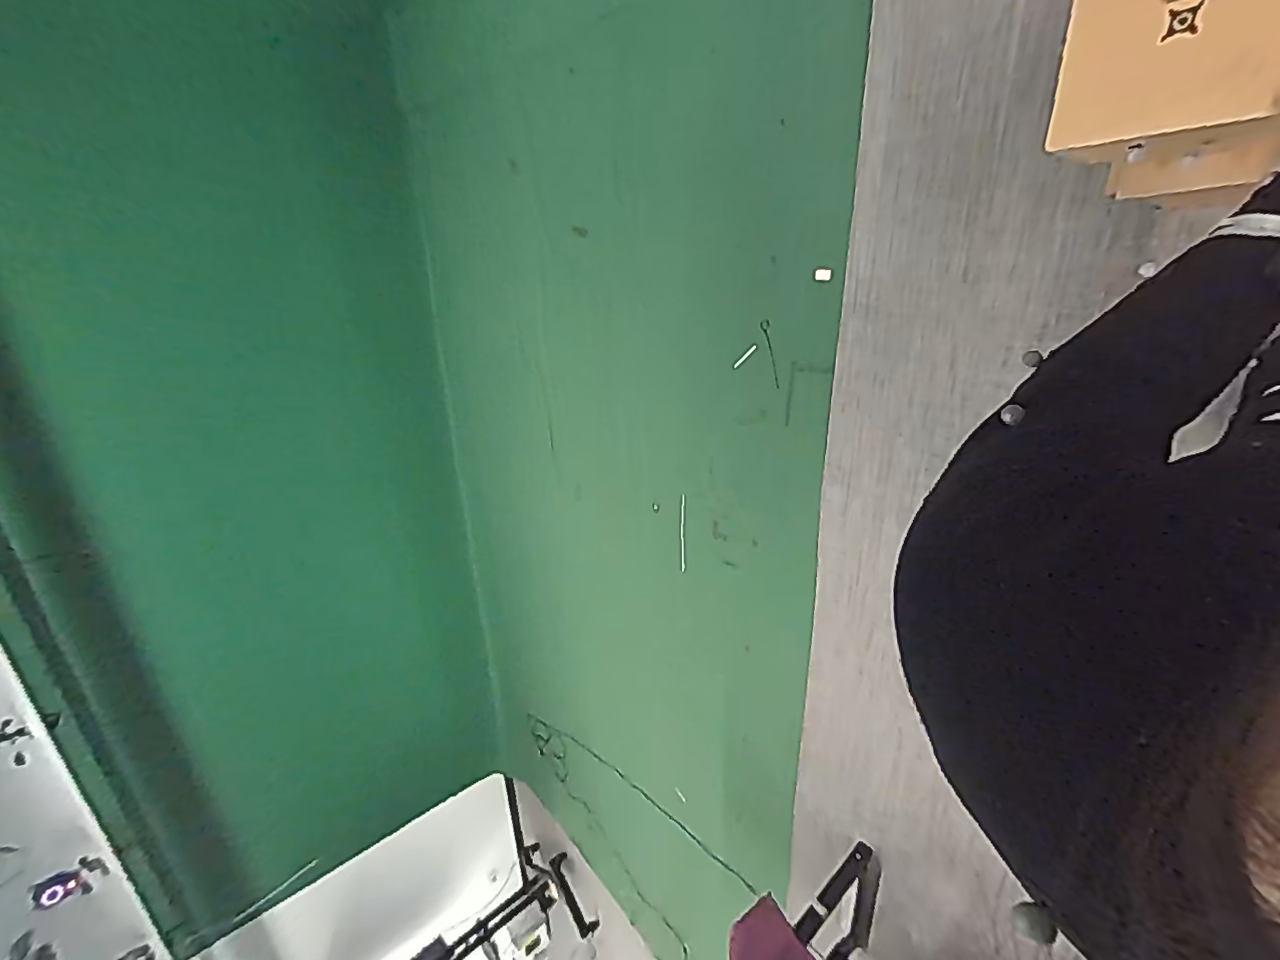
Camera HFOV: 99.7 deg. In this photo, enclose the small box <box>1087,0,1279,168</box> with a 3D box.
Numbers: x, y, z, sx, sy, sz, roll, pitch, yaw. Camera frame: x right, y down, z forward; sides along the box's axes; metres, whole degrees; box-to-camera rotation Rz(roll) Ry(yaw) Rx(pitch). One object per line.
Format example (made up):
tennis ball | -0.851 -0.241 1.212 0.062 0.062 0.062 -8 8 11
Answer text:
small box | 0.645 -0.466 0.607 0.168 0.176 0.179 21 122 45
